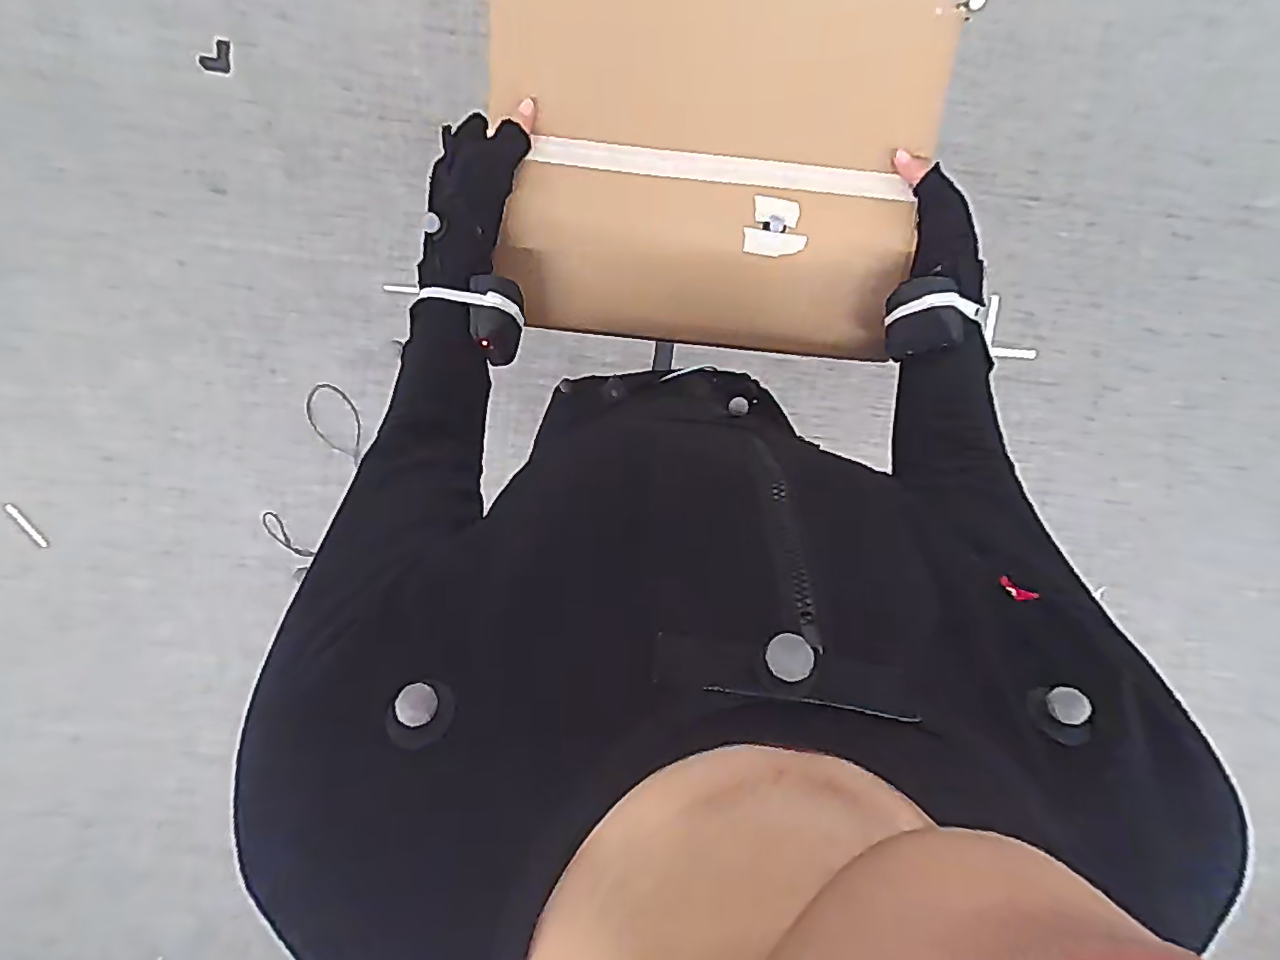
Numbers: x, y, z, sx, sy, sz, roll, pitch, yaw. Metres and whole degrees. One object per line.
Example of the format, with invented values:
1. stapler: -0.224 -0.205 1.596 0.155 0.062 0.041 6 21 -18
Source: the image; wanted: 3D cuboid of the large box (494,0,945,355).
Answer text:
1. large box: 0.057 -0.332 0.653 0.408 0.320 0.320 5 107 -4
